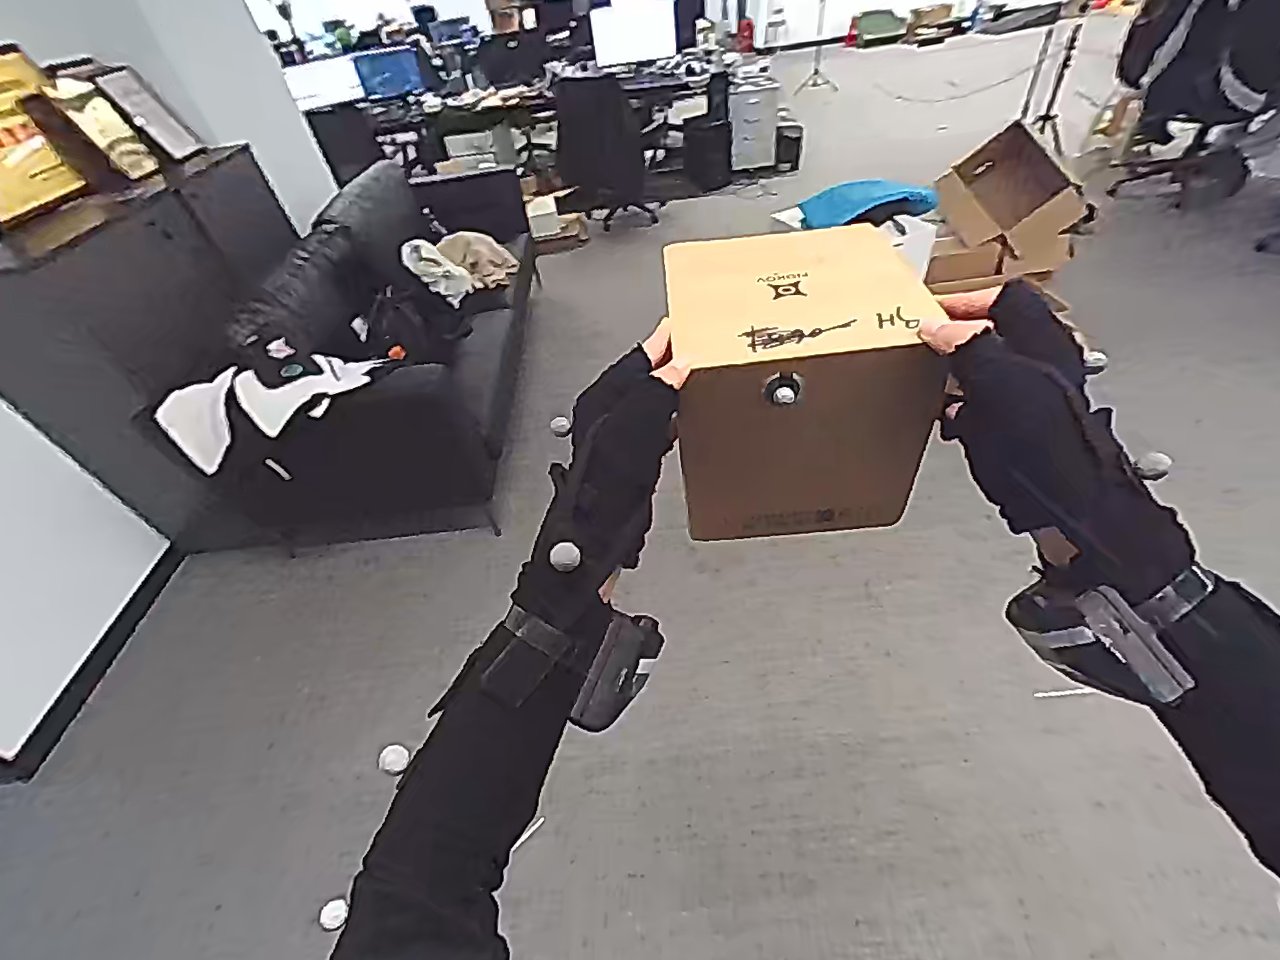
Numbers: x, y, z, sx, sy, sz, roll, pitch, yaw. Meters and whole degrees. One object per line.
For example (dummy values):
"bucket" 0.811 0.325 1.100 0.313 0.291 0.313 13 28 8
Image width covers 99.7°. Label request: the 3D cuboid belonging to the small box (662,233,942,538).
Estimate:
"small box" 0.107 -0.075 0.437 0.168 0.176 0.179 -5 44 6
